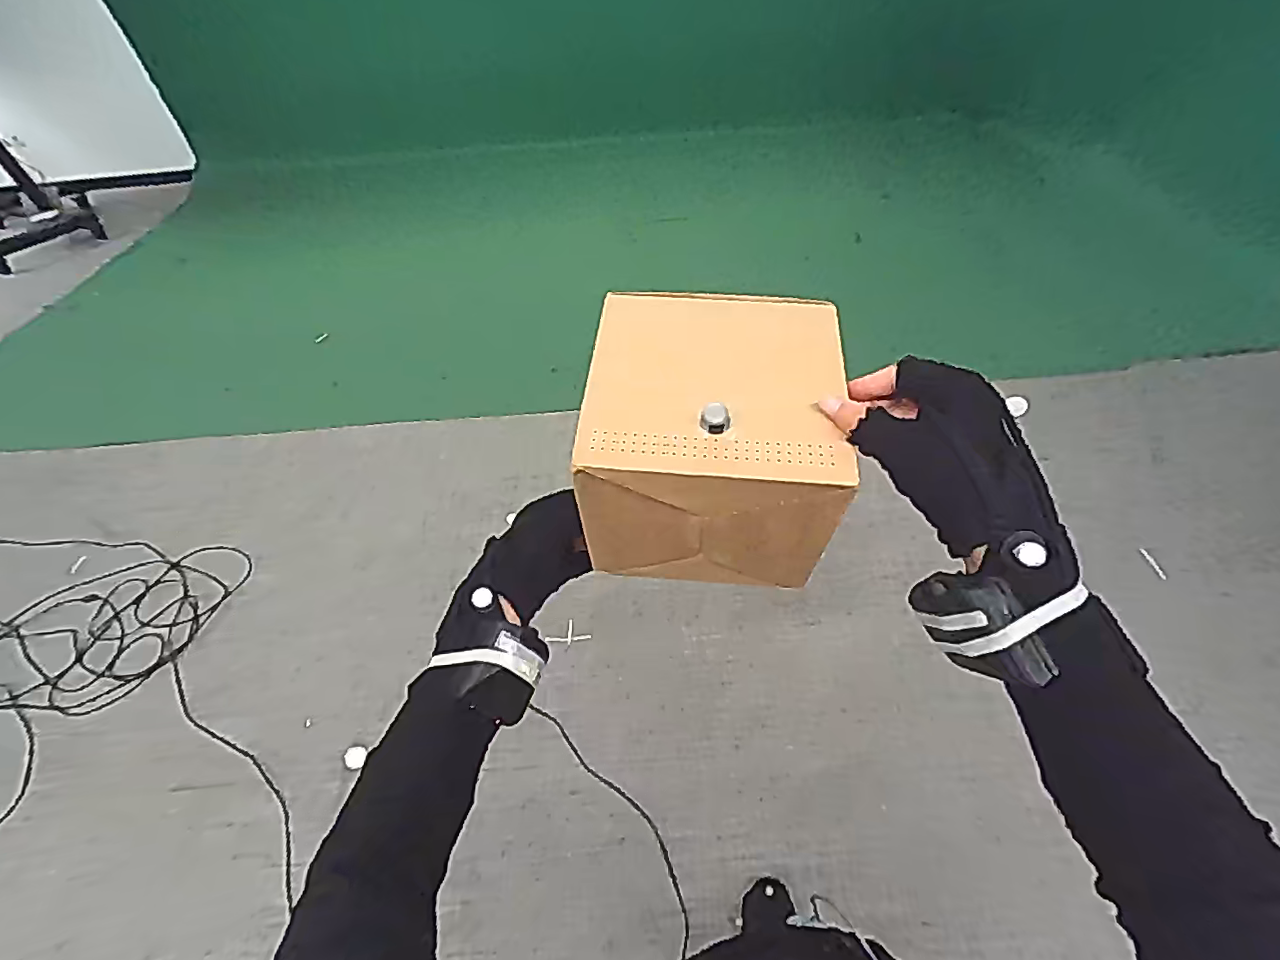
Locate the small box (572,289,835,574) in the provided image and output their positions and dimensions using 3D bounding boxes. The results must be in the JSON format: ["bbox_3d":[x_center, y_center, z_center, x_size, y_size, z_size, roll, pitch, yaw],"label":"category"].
[{"bbox_3d":[0.052,-0.031,0.444,0.179,0.168,0.176,5,57,4],"label":"small box"}]
